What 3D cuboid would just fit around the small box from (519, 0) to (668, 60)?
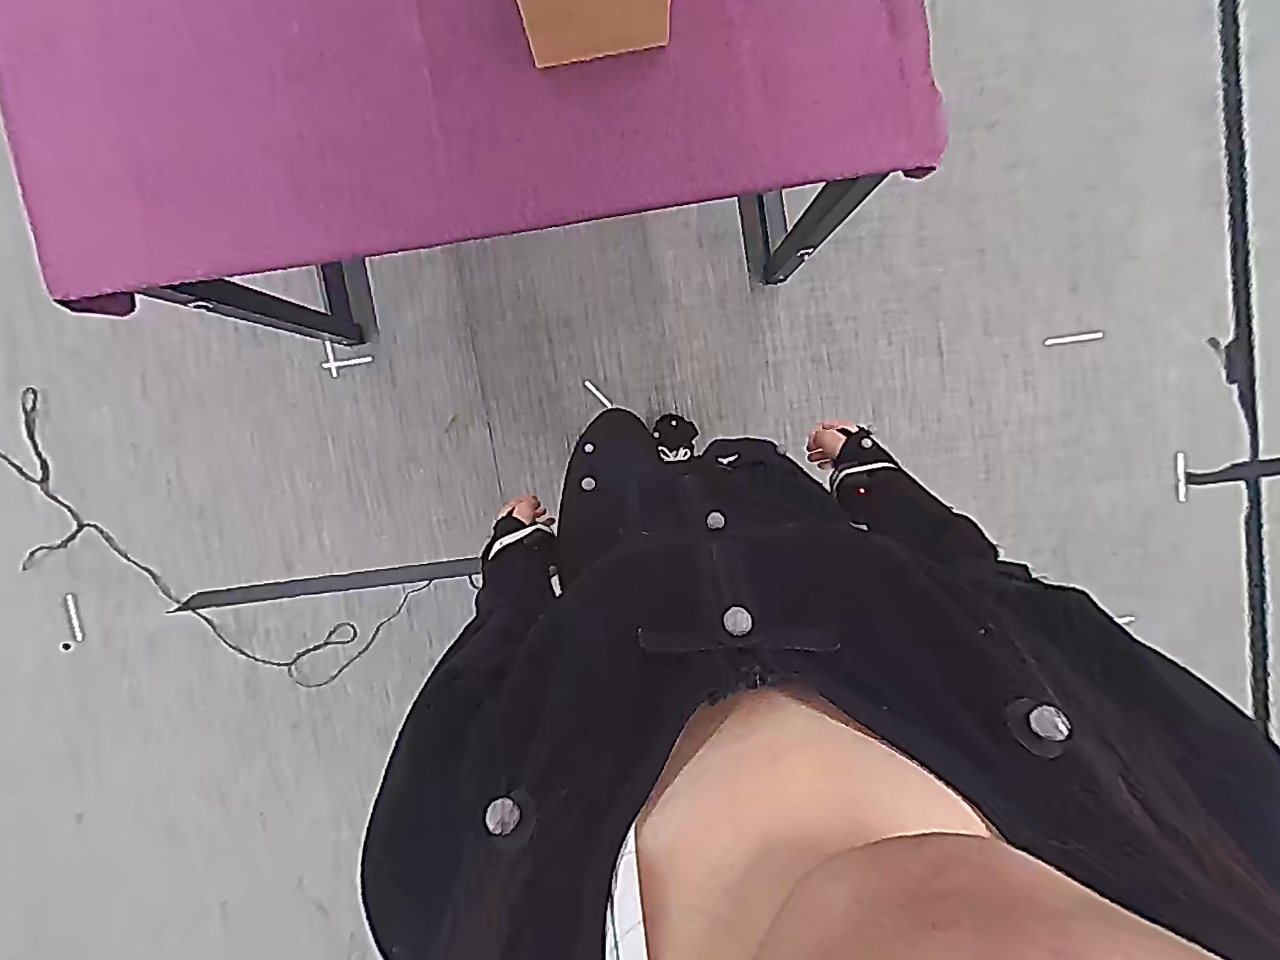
[{"bbox_3d":[-0.061,-0.624,0.609,0.179,0.176,0.168,-9,95,2],"label":"small box"}]
